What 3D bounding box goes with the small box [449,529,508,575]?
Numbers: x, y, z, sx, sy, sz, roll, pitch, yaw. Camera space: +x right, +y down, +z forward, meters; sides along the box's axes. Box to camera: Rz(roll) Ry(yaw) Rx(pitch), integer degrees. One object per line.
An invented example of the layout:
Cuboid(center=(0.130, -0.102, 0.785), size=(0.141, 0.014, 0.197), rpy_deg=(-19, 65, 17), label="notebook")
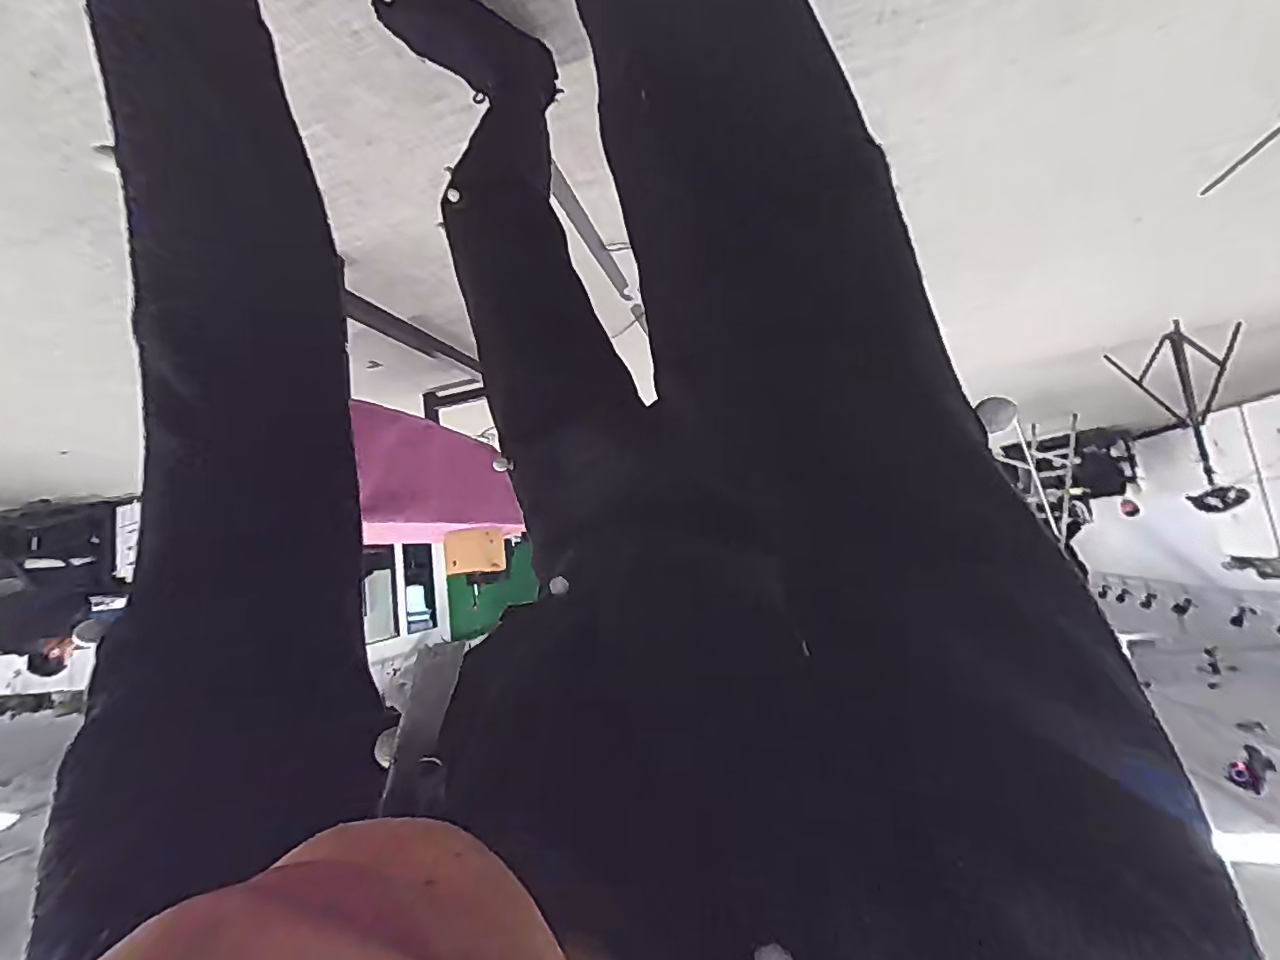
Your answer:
Cuboid(center=(-0.672, 0.298, 2.241), size=(0.179, 0.176, 0.168), rpy_deg=(-11, 172, 22), label="small box")
